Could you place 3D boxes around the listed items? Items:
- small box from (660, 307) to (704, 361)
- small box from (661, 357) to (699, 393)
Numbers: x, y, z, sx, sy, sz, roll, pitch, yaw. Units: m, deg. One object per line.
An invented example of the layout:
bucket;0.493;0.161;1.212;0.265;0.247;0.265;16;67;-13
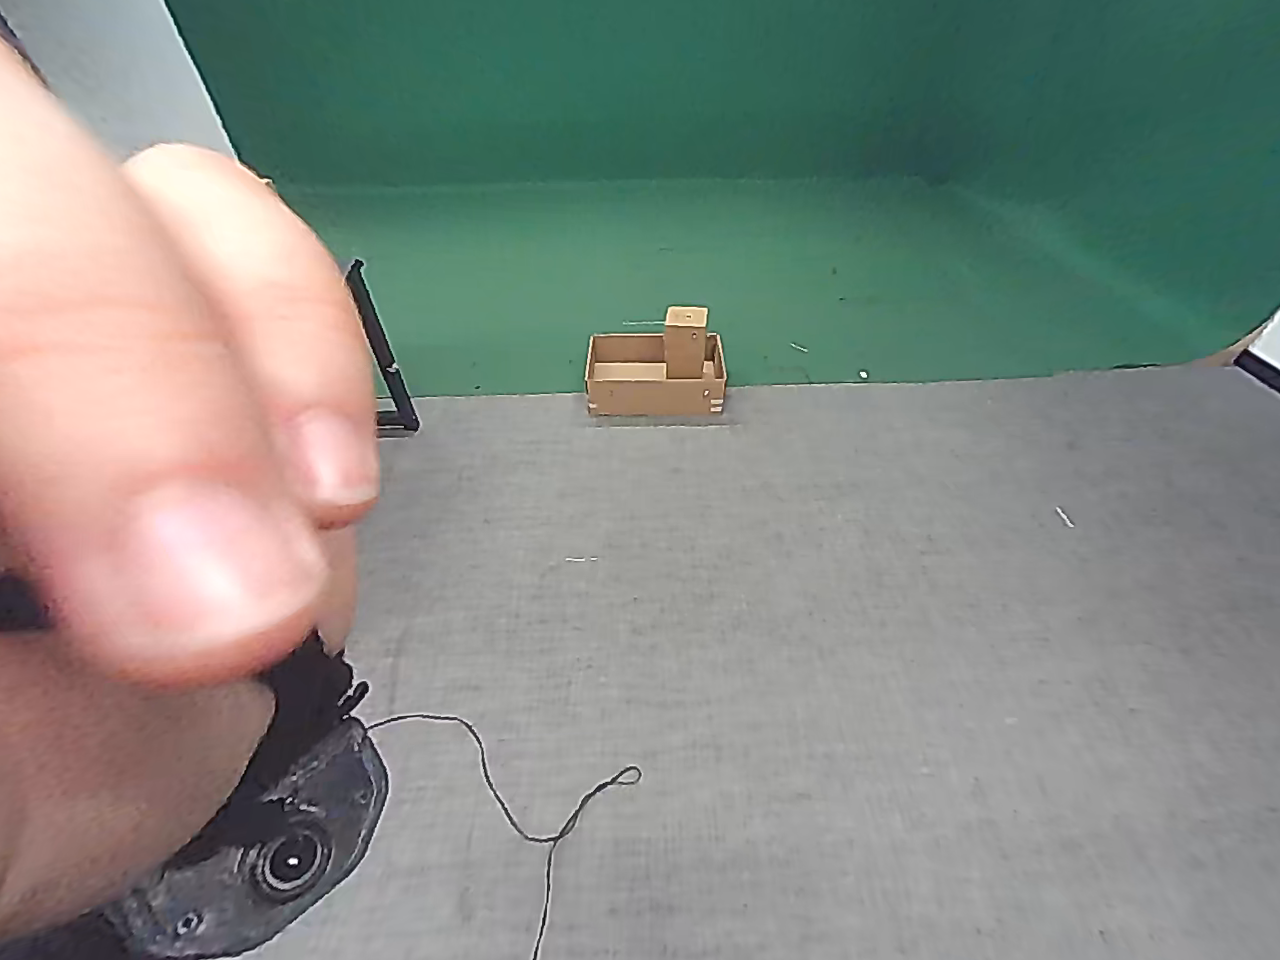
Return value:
small box;0.185;-0.639;2.373;0.179;0.176;0.168;5;45;6
small box;0.187;-0.525;2.493;0.168;0.176;0.179;4;46;6
